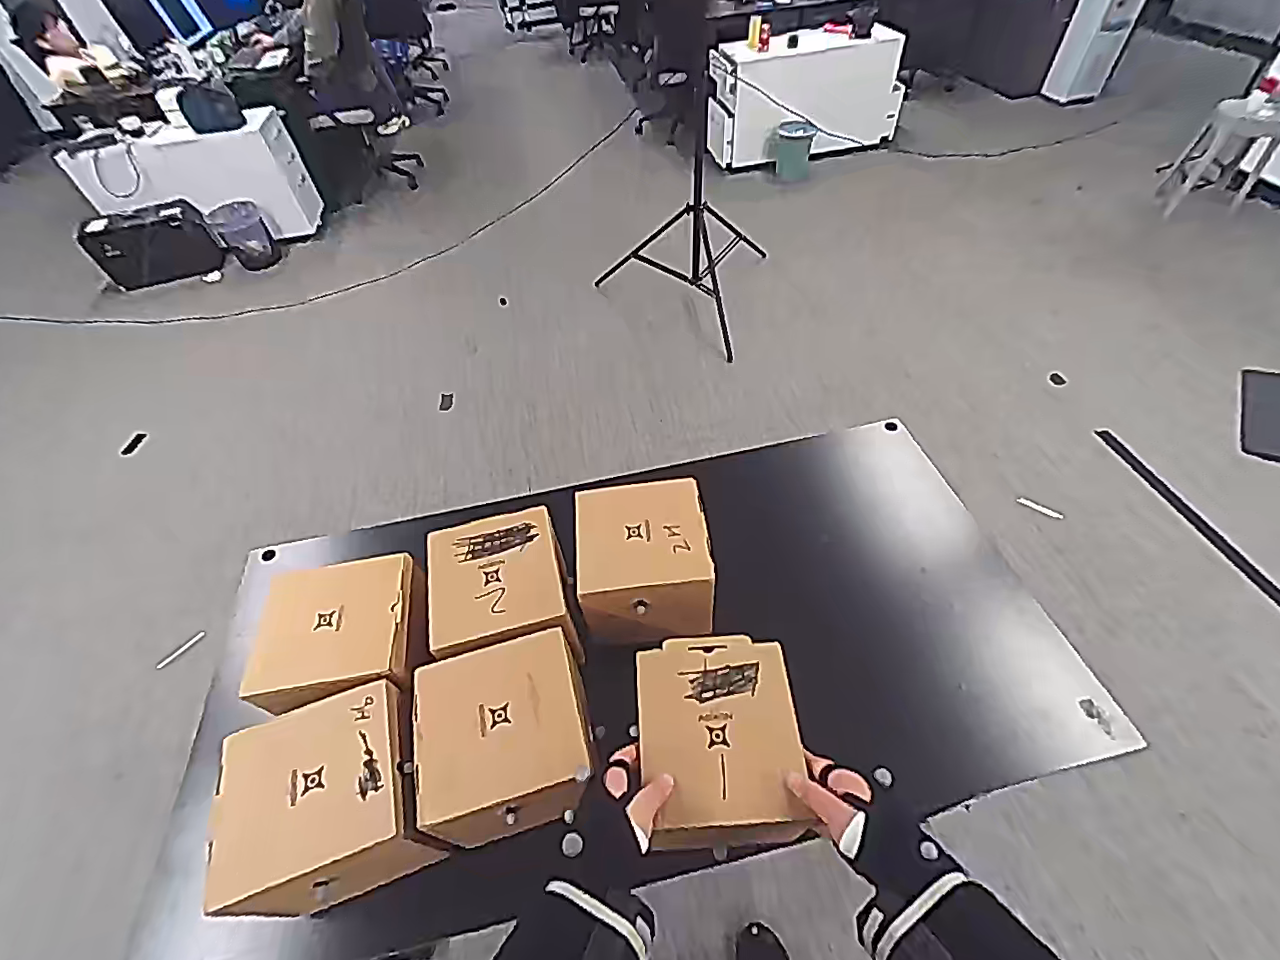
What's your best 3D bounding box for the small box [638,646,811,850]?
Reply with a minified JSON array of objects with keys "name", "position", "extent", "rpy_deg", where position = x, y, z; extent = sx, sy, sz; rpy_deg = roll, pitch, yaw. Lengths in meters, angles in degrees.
[{"name":"small box","position":[0.085,0.313,0.630],"extent":[0.168,0.176,0.179],"rpy_deg":[-5,50,2]}]
